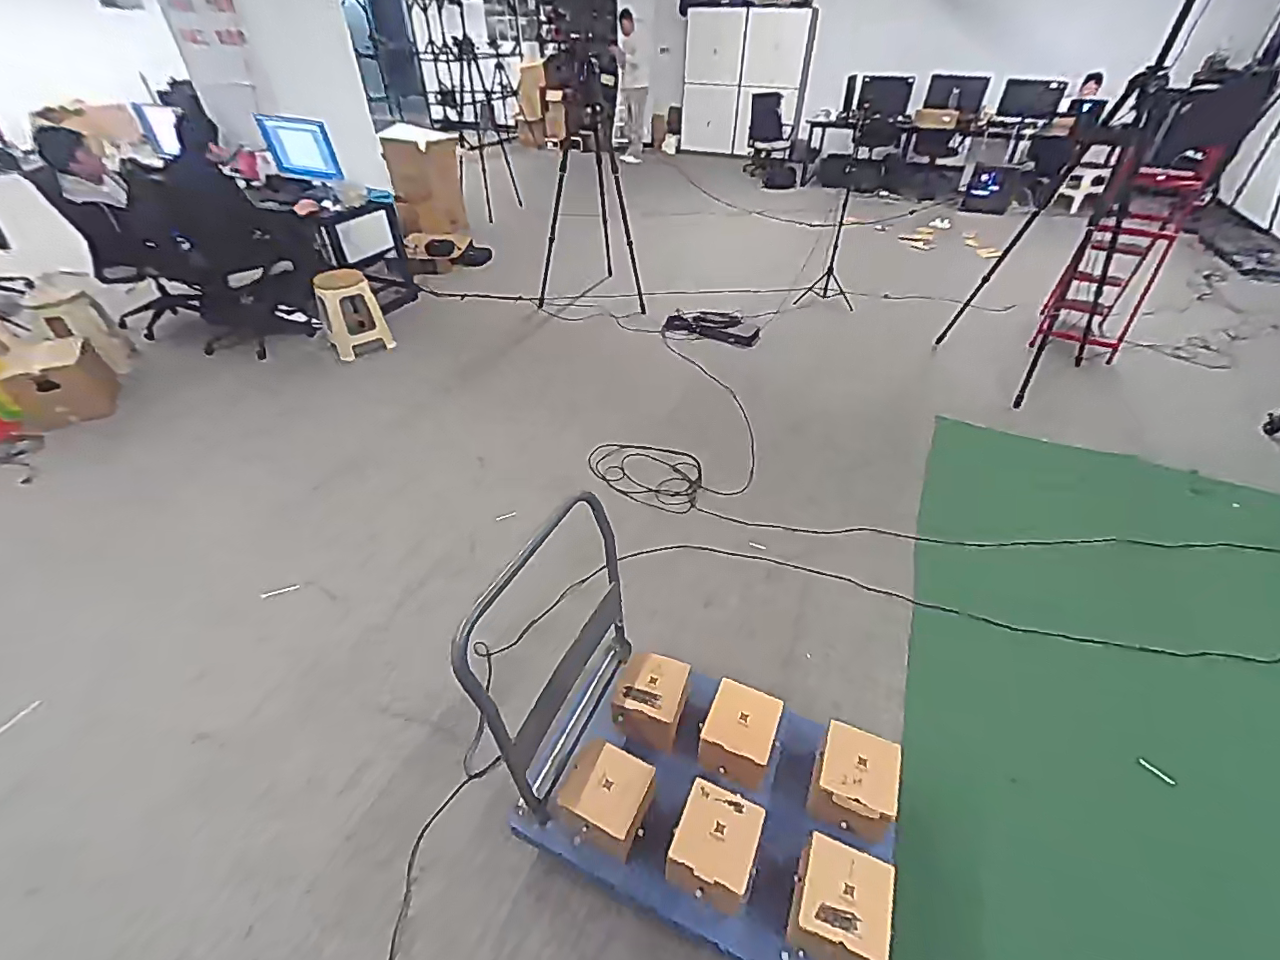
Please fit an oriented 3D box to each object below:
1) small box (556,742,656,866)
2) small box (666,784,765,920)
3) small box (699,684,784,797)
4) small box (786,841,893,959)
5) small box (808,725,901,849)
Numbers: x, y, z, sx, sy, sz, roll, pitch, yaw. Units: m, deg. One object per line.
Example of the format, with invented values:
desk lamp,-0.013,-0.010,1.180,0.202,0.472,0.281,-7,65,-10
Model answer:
small box,-0.077,0.765,1.273,0.179,0.176,0.168,19,43,20
small box,0.166,0.826,1.198,0.168,0.176,0.179,17,43,19
small box,0.256,0.670,1.393,0.168,0.176,0.179,17,44,19
small box,0.410,0.908,1.125,0.168,0.176,0.179,16,41,18
small box,0.512,0.739,1.303,0.168,0.176,0.179,15,42,19
